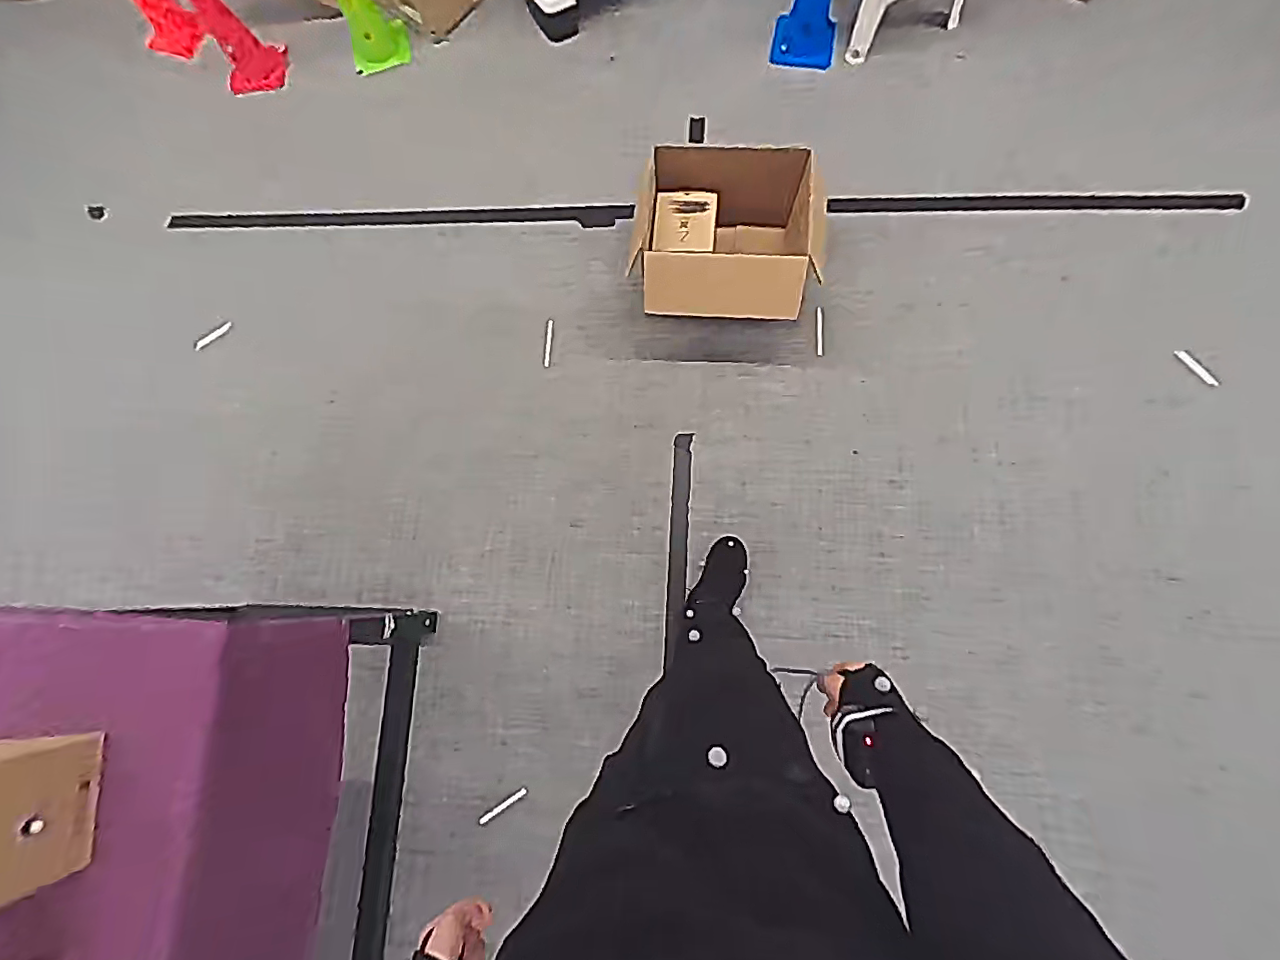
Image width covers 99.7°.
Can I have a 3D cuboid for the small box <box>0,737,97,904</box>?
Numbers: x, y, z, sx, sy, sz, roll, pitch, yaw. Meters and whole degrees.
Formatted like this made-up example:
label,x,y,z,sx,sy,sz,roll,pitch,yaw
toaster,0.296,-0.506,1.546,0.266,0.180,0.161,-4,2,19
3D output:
label,x,y,z,sx,sy,sz,roll,pitch,yaw
small box,-0.825,0.421,0.654,0.179,0.176,0.168,-5,78,4
